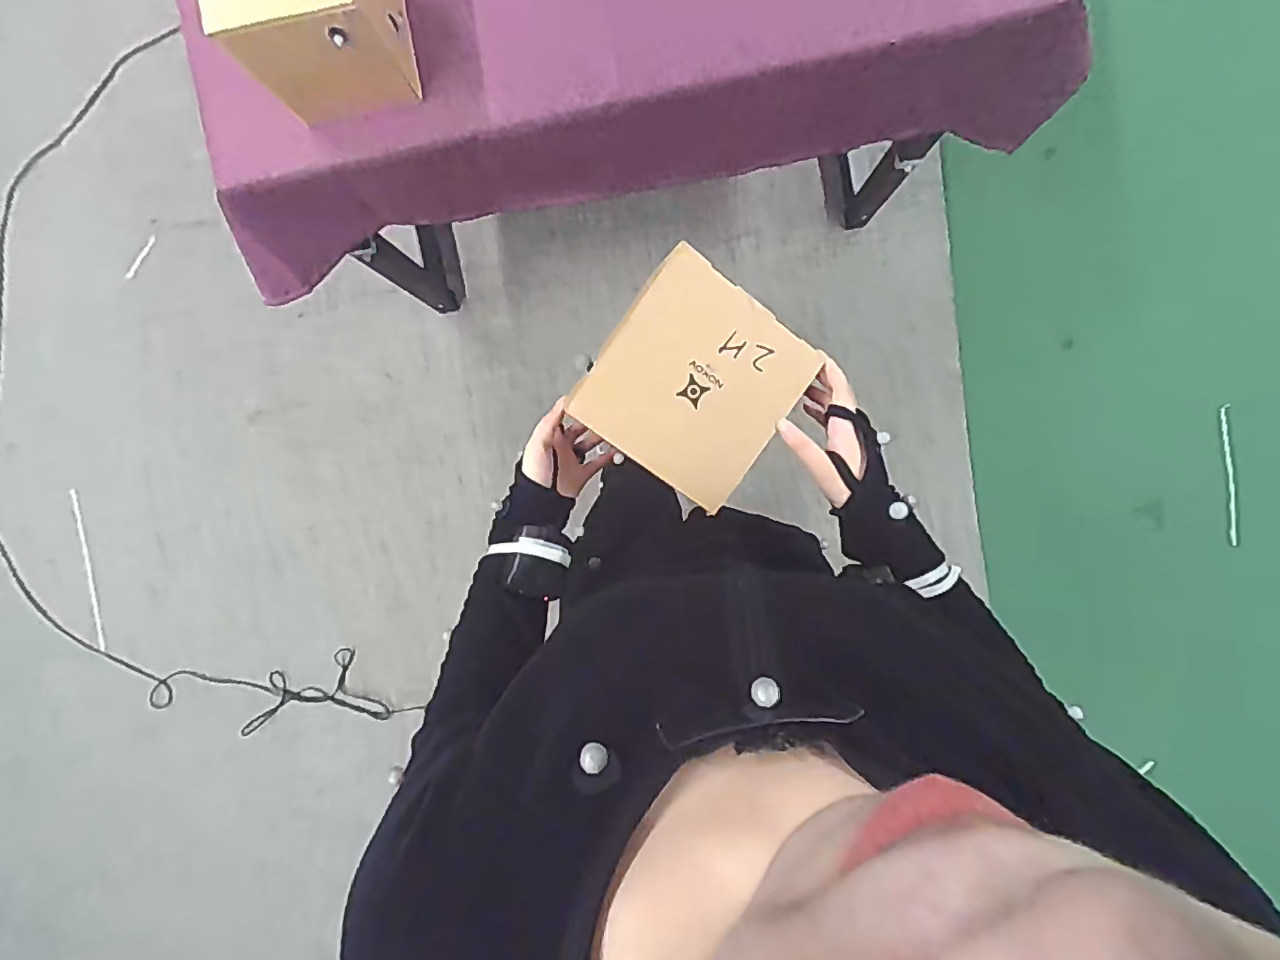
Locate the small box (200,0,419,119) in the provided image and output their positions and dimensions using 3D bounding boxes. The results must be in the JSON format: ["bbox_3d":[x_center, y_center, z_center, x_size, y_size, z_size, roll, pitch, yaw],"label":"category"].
[{"bbox_3d":[-0.405,-0.587,0.670,0.179,0.176,0.168,-10,92,1],"label":"small box"}]
